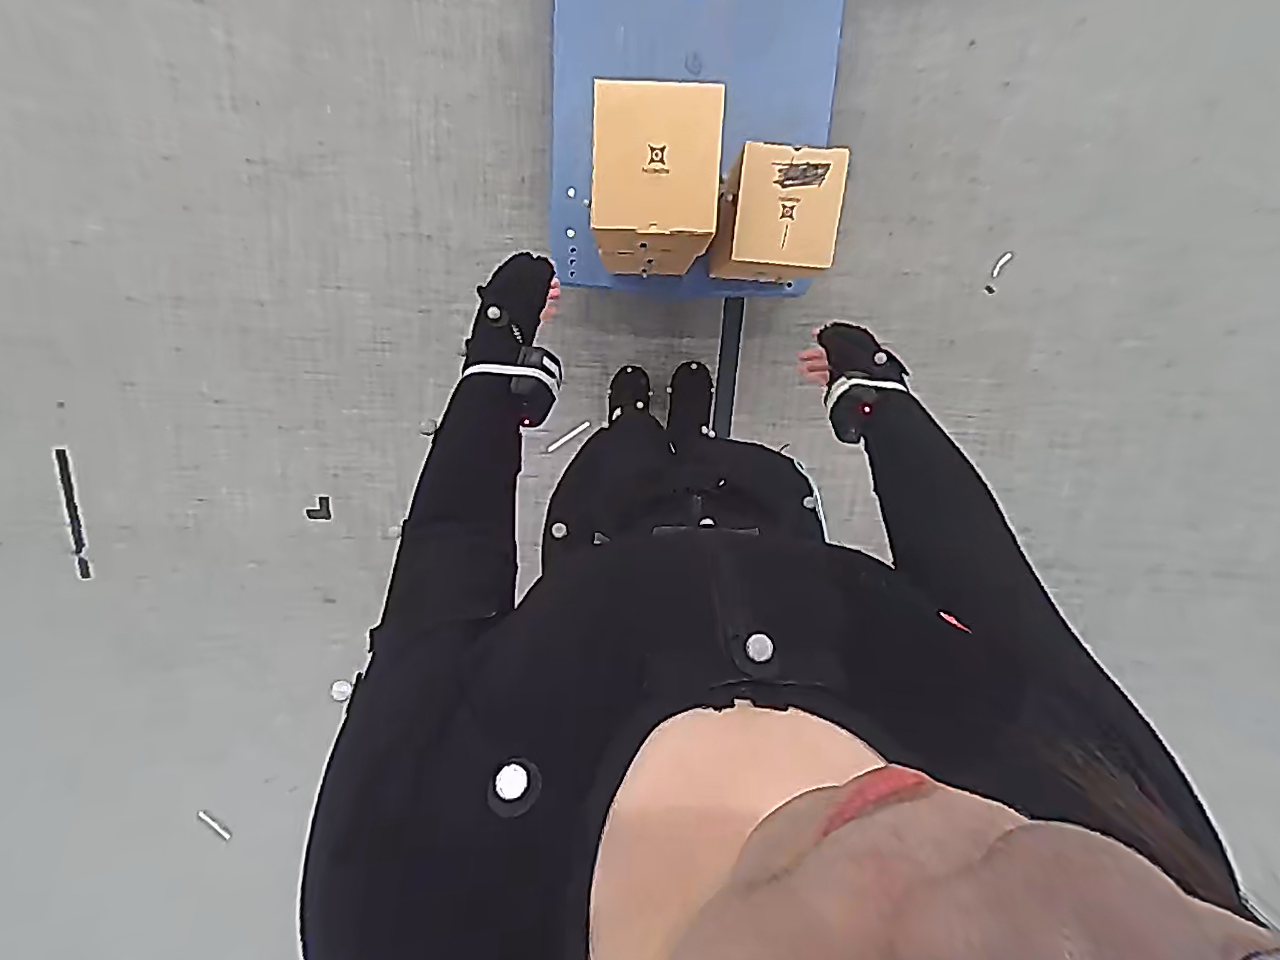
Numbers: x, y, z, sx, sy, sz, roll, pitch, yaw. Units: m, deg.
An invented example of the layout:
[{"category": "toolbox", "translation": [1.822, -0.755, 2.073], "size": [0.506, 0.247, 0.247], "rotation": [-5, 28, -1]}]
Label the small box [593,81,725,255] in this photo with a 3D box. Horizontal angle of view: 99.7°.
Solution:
[{"category": "small box", "translation": [0.022, -0.431, 0.774], "size": [0.168, 0.176, 0.179], "rotation": [2, 105, 0]}]

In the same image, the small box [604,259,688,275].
[{"category": "small box", "translation": [0.017, -0.514, 1.091], "size": [0.168, 0.176, 0.179], "rotation": [2, 104, 0]}]

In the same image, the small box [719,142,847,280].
[{"category": "small box", "translation": [0.234, -0.453, 0.935], "size": [0.168, 0.176, 0.179], "rotation": [5, 105, 0]}]

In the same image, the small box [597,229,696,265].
[{"category": "small box", "translation": [0.014, -0.471, 0.932], "size": [0.168, 0.176, 0.179], "rotation": [0, 106, 0]}]

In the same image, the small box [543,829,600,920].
[{"category": "small box", "translation": [-0.223, 1.295, 1.780], "size": [0.168, 0.176, 0.179], "rotation": [3, 105, -1]}]
